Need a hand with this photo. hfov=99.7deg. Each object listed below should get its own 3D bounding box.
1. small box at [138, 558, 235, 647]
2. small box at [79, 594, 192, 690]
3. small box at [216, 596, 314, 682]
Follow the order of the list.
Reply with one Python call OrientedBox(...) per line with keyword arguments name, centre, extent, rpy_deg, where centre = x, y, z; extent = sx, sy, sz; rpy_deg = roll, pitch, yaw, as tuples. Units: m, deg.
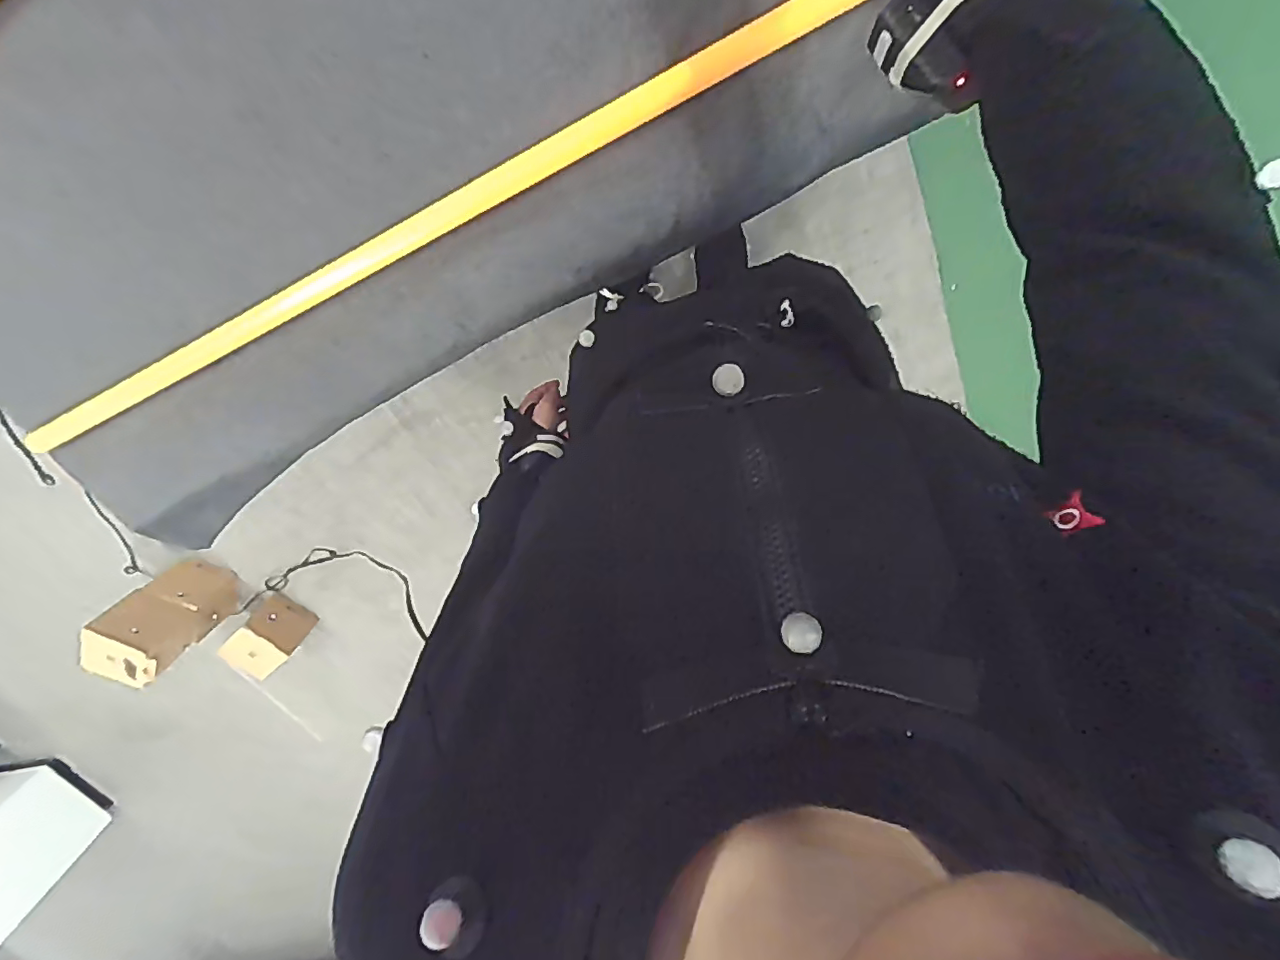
OrientedBox(name="small box", centre=(-1.404, 0.378, 1.682), extent=(0.168, 0.176, 0.179), rpy_deg=(22, 117, -7))
OrientedBox(name="small box", centre=(-1.426, 0.454, 1.537), extent=(0.179, 0.176, 0.168), rpy_deg=(27, 116, -9))
OrientedBox(name="small box", centre=(-1.194, 0.506, 1.739), extent=(0.179, 0.176, 0.168), rpy_deg=(-38, 109, 22))
